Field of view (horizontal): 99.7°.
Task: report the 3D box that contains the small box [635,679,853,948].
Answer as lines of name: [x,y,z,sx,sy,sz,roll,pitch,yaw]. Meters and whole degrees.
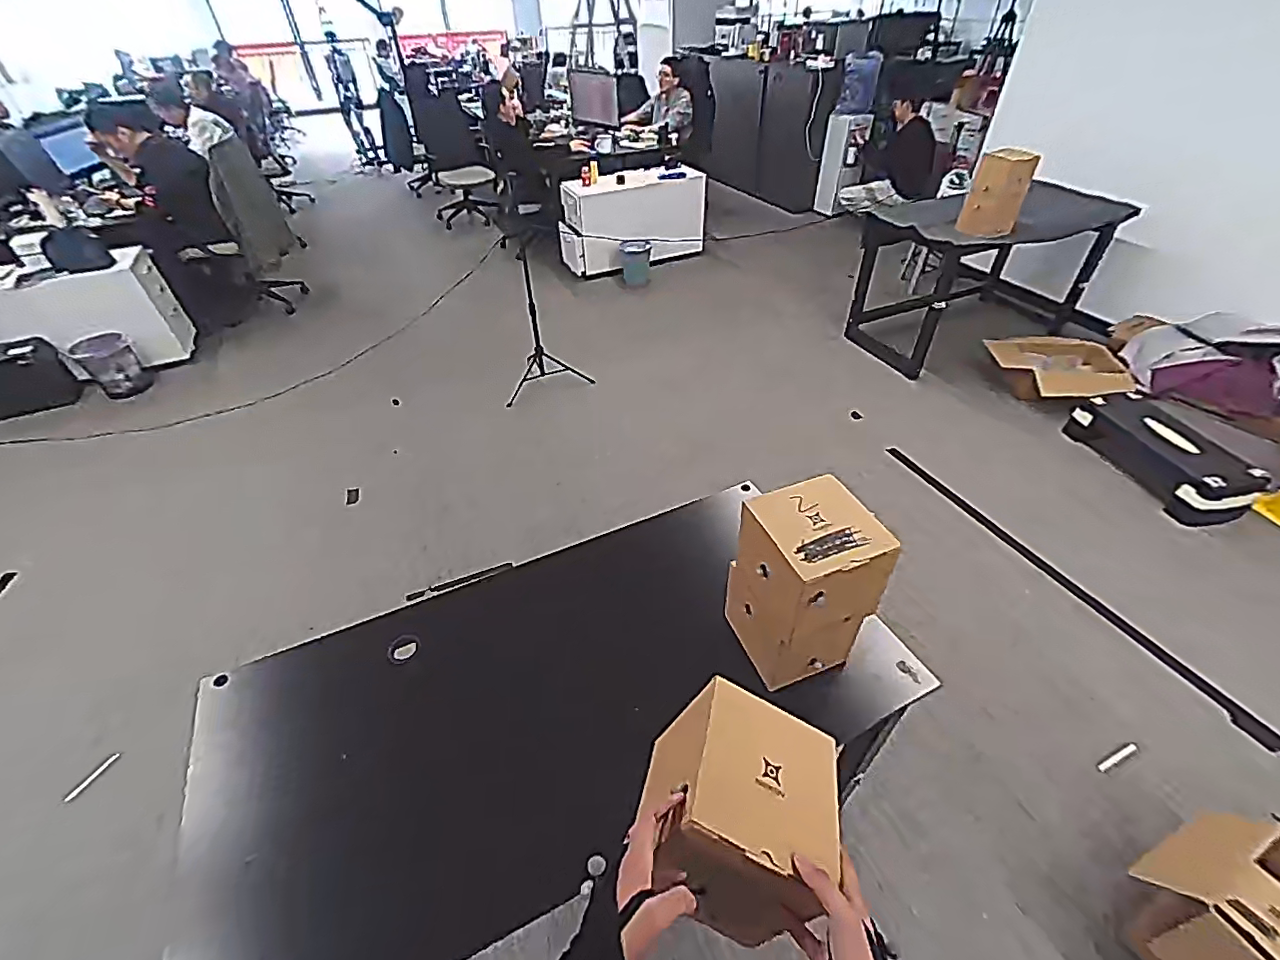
small box: [0.113,0.370,0.607,0.168,0.176,0.179,29,34,-1]

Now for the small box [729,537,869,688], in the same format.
small box: [0.271,0.237,0.971,0.168,0.176,0.179,-16,44,-13]
